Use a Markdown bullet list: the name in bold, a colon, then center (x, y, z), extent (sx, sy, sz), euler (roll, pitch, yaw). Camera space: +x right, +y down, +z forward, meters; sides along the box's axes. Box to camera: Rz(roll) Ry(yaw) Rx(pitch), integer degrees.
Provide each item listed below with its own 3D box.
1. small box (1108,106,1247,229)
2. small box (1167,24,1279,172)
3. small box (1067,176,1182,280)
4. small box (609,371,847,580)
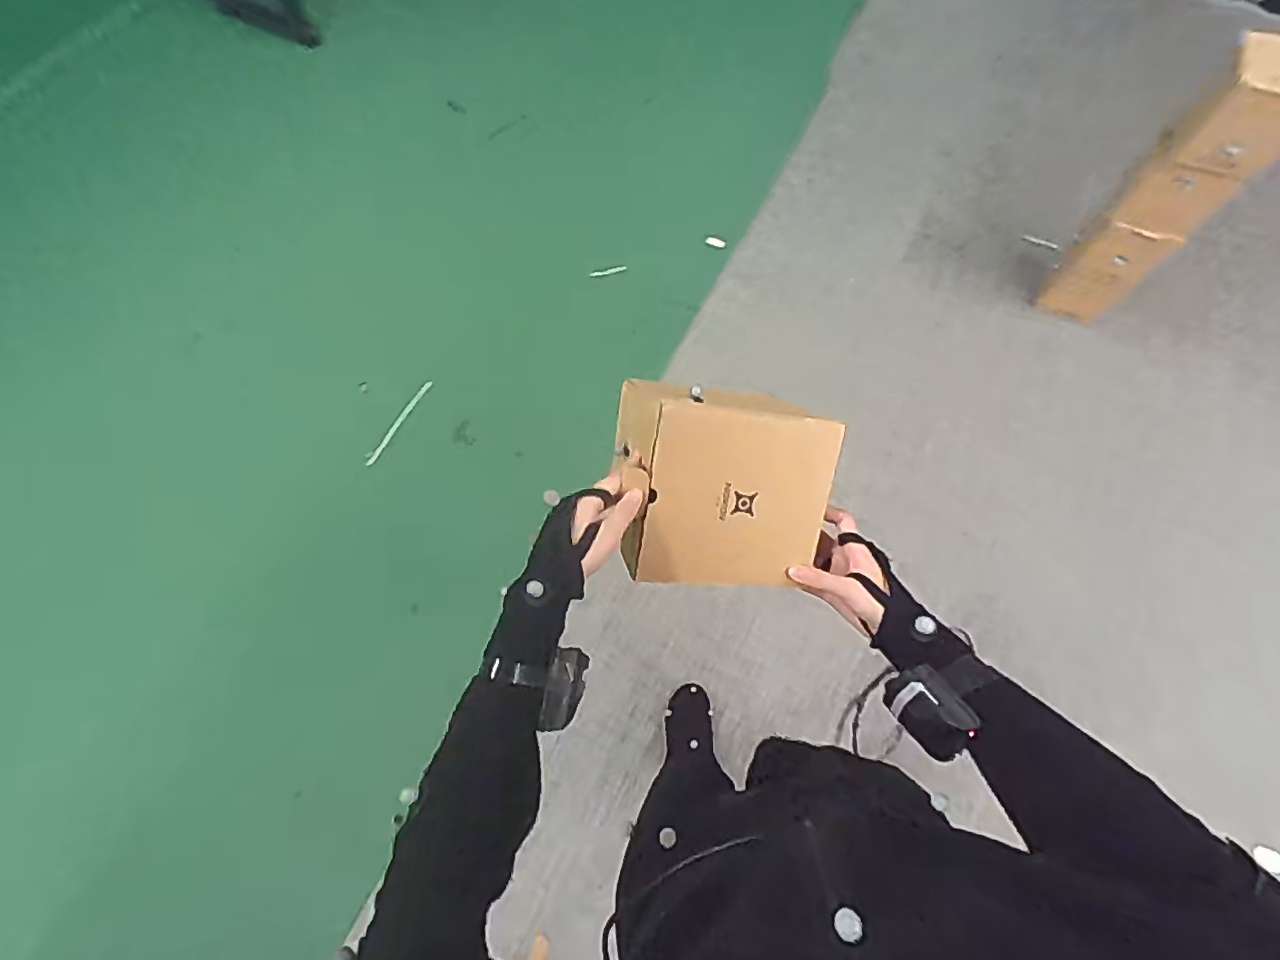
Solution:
- **small box**: center (1.262, -0.729, 1.274), extent (0.179, 0.176, 0.168), euler (23, 72, 11)
- **small box**: center (1.255, -0.786, 1.120), extent (0.168, 0.176, 0.179), euler (22, 72, 12)
- **small box**: center (1.277, -0.663, 1.425), extent (0.168, 0.176, 0.179), euler (23, 73, 11)
- **small box**: center (0.074, -0.013, 0.556), extent (0.179, 0.176, 0.168), euler (6, 106, -12)
